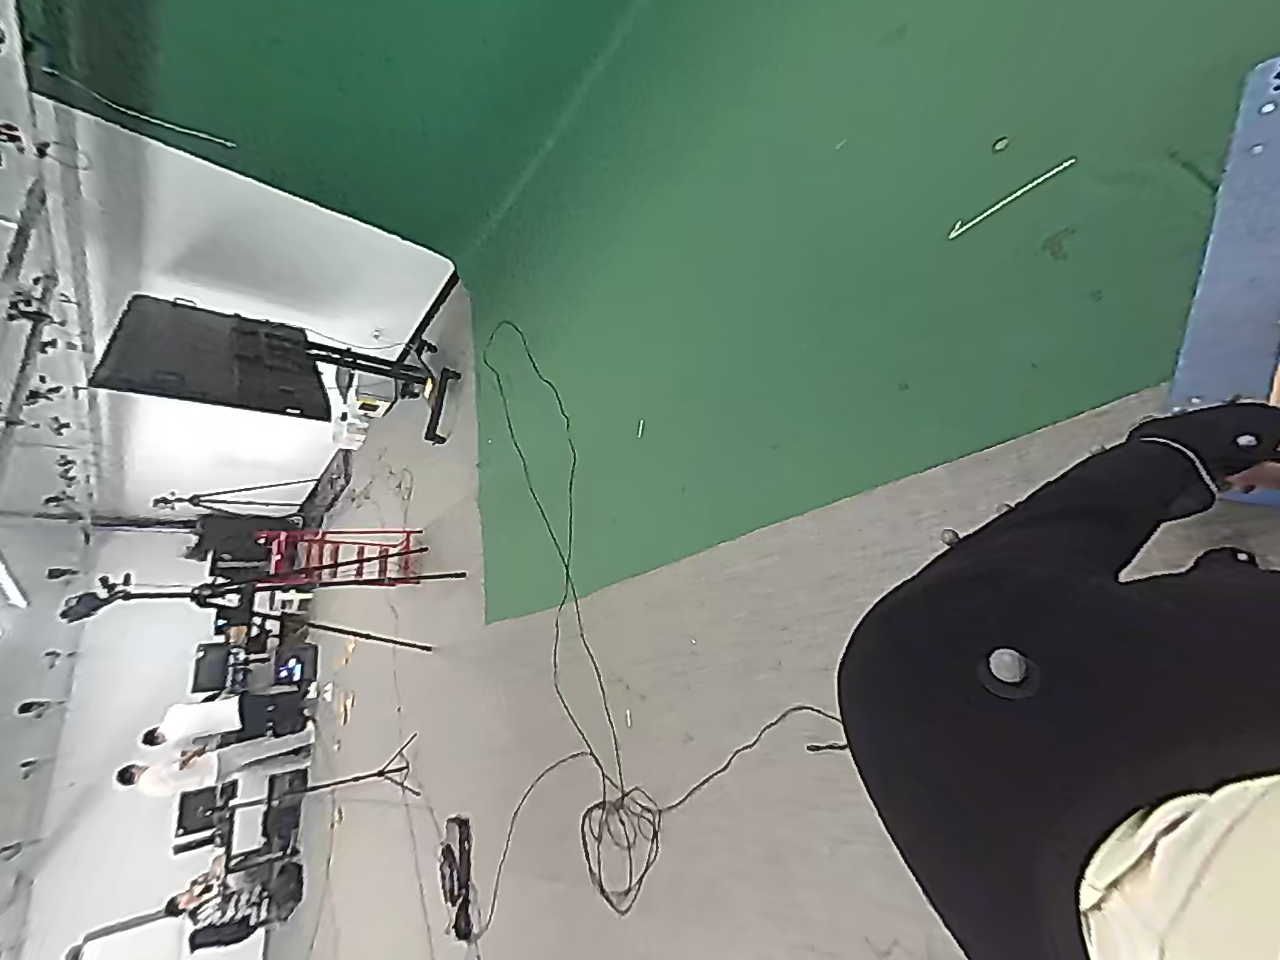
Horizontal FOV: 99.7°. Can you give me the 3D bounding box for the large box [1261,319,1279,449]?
[{"bbox_3d":[1.193,-0.252,0.797,0.320,0.320,0.408,15,93,49],"label":"large box"}]
